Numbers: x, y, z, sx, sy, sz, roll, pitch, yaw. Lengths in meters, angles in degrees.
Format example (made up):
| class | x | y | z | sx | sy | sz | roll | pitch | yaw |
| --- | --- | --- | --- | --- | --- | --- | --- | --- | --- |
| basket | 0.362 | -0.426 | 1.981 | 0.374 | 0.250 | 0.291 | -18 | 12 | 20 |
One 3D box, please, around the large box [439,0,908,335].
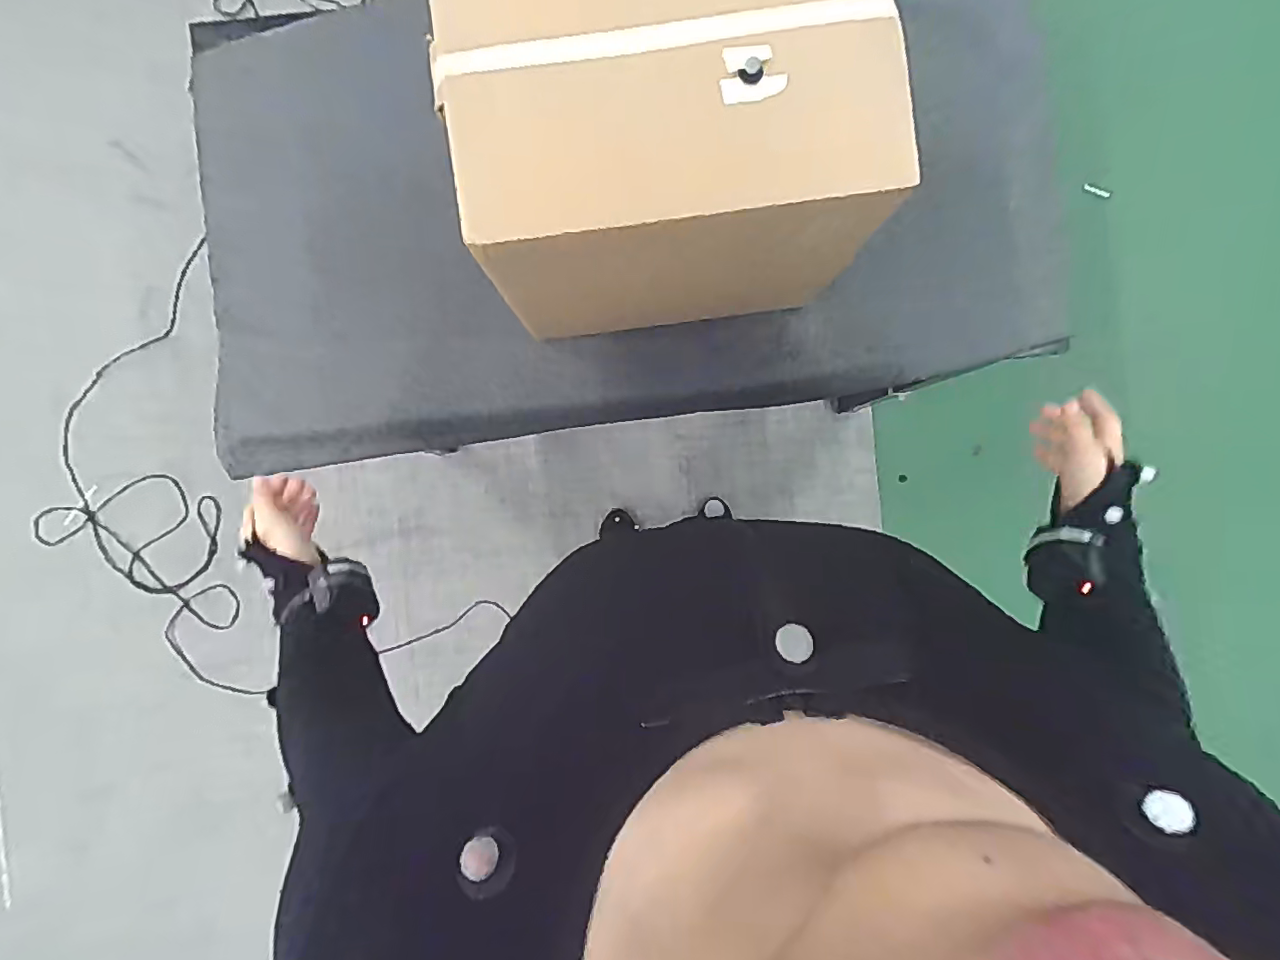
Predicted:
| class | x | y | z | sx | sy | sz | roll | pitch | yaw |
| --- | --- | --- | --- | --- | --- | --- | --- | --- | --- |
| large box | 0.023 | -0.389 | 0.636 | 0.408 | 0.320 | 0.320 | -8 | 90 | -1 |
